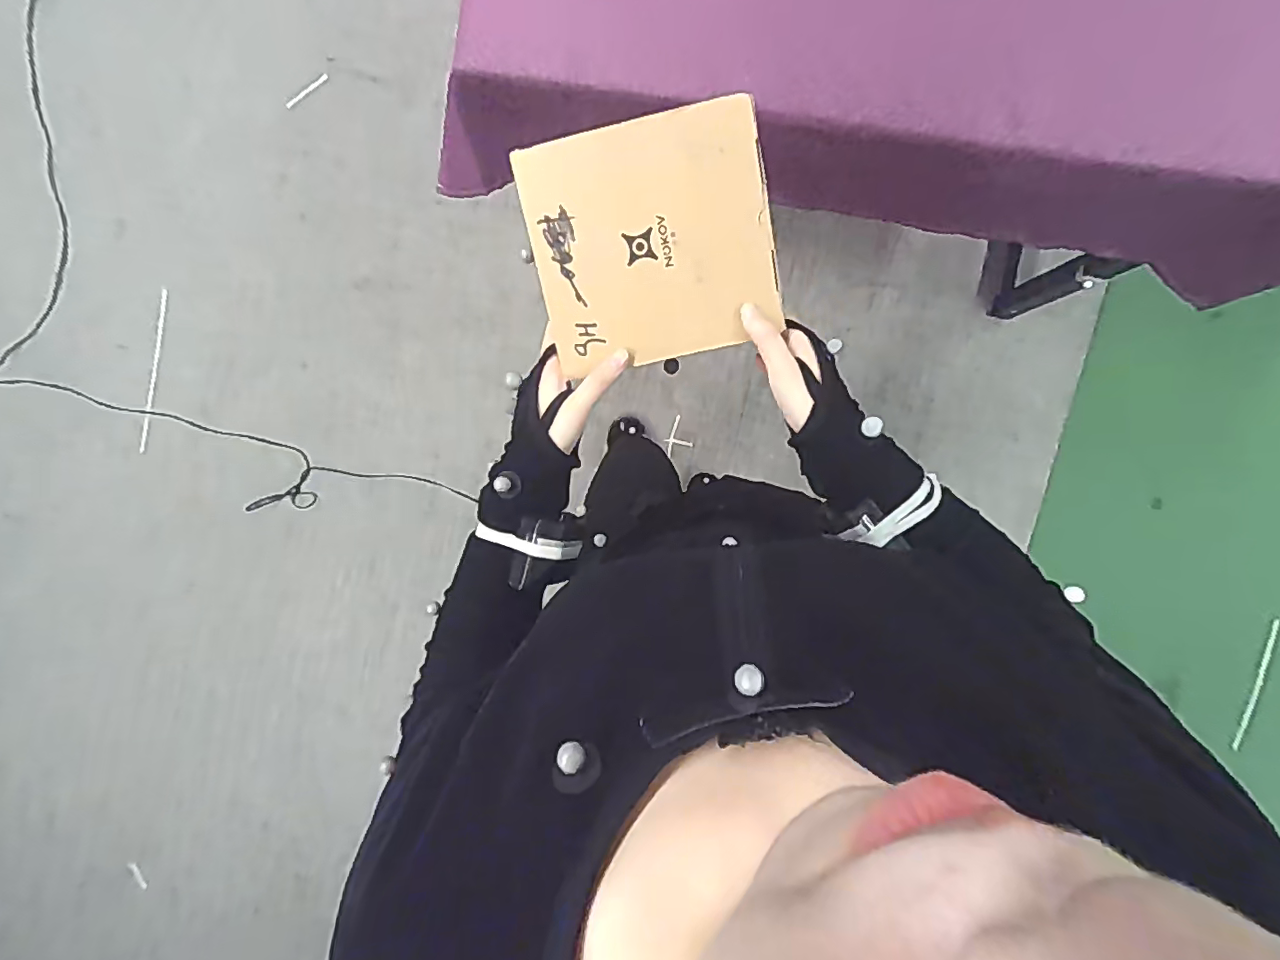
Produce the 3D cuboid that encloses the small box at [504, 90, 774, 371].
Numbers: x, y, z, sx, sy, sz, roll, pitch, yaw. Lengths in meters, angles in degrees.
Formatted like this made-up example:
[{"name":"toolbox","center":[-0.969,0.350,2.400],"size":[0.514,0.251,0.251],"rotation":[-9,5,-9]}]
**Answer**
[{"name":"small box","center":[0.003,-0.195,0.472],"size":[0.179,0.176,0.168],"rotation":[-11,102,4]}]
